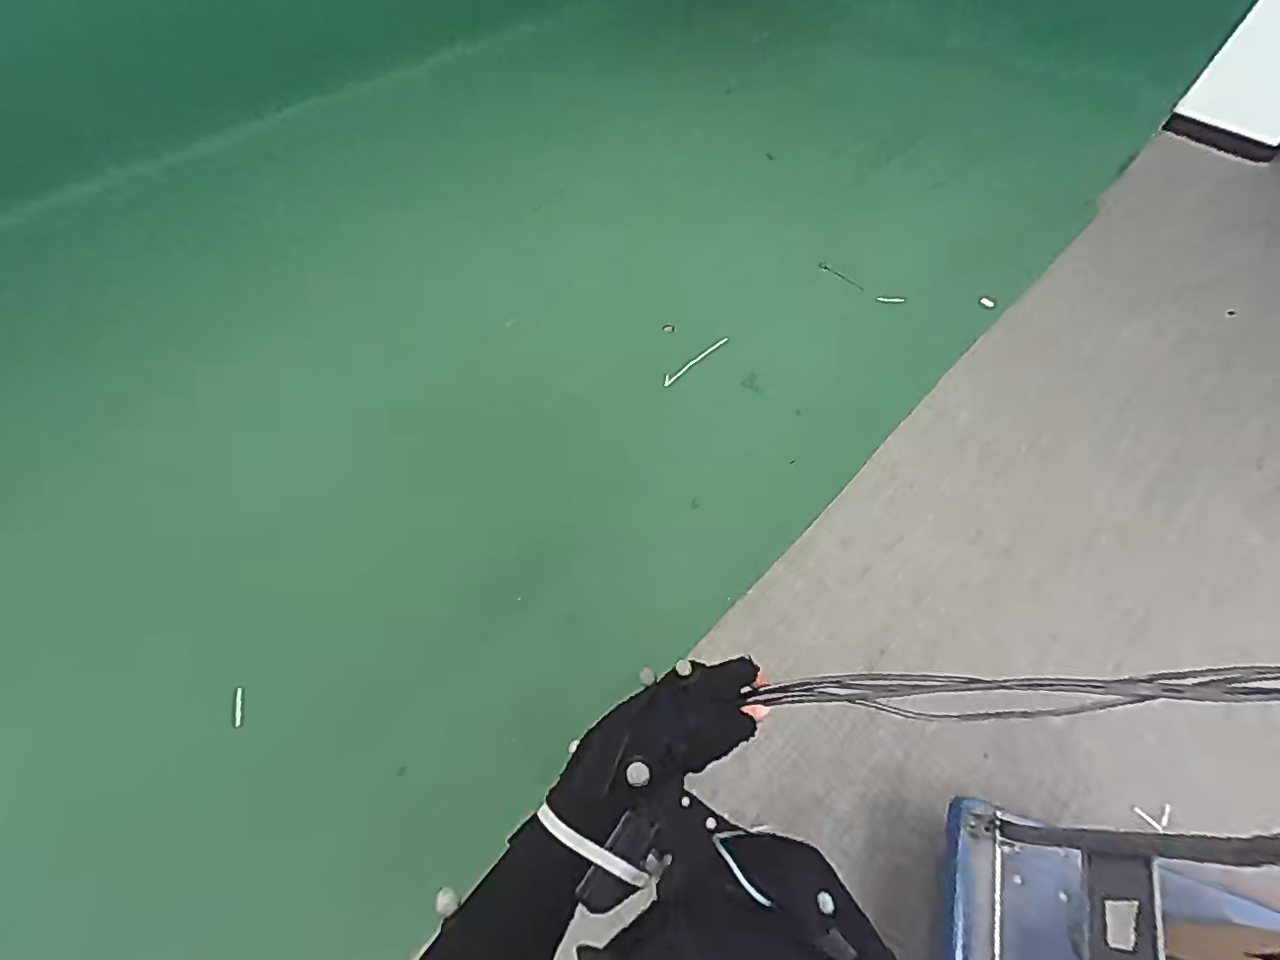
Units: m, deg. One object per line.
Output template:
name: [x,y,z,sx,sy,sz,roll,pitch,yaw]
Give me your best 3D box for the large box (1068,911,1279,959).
large box: [0.931,0.888,0.758,0.320,0.320,0.408,-1,59,-2]
